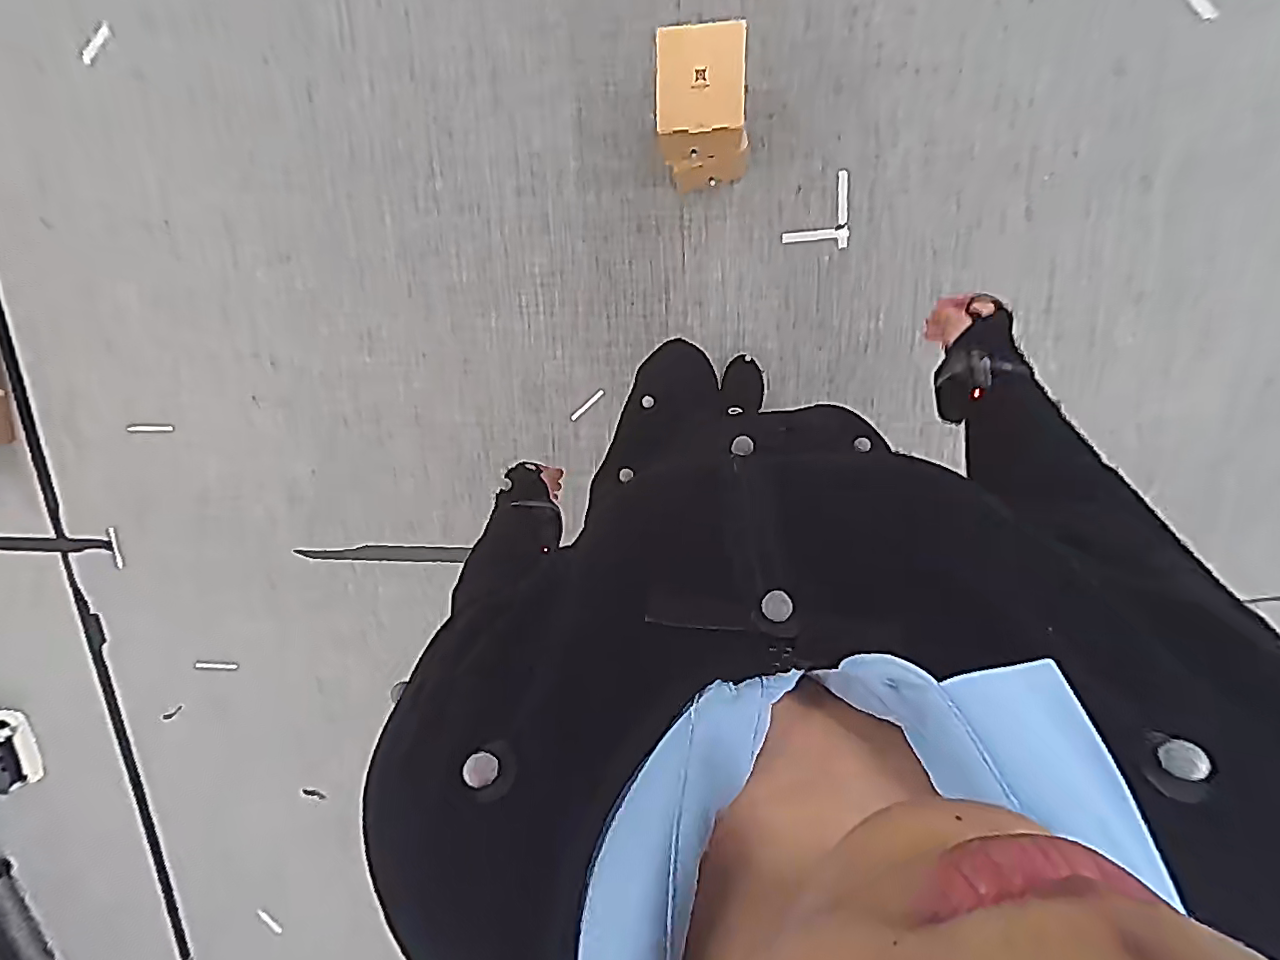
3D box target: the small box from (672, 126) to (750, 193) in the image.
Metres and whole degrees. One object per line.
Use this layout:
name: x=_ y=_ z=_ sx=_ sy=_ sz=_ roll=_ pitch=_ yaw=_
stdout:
small box: x=0.148 y=-0.787 z=1.230 sx=0.168 sy=0.176 sz=0.179 roll=-12 pitch=101 yaw=9

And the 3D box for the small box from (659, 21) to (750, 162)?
small box: x=0.124 y=-0.757 z=1.071 sx=0.168 sy=0.176 sz=0.179 roll=0 pitch=103 yaw=6
